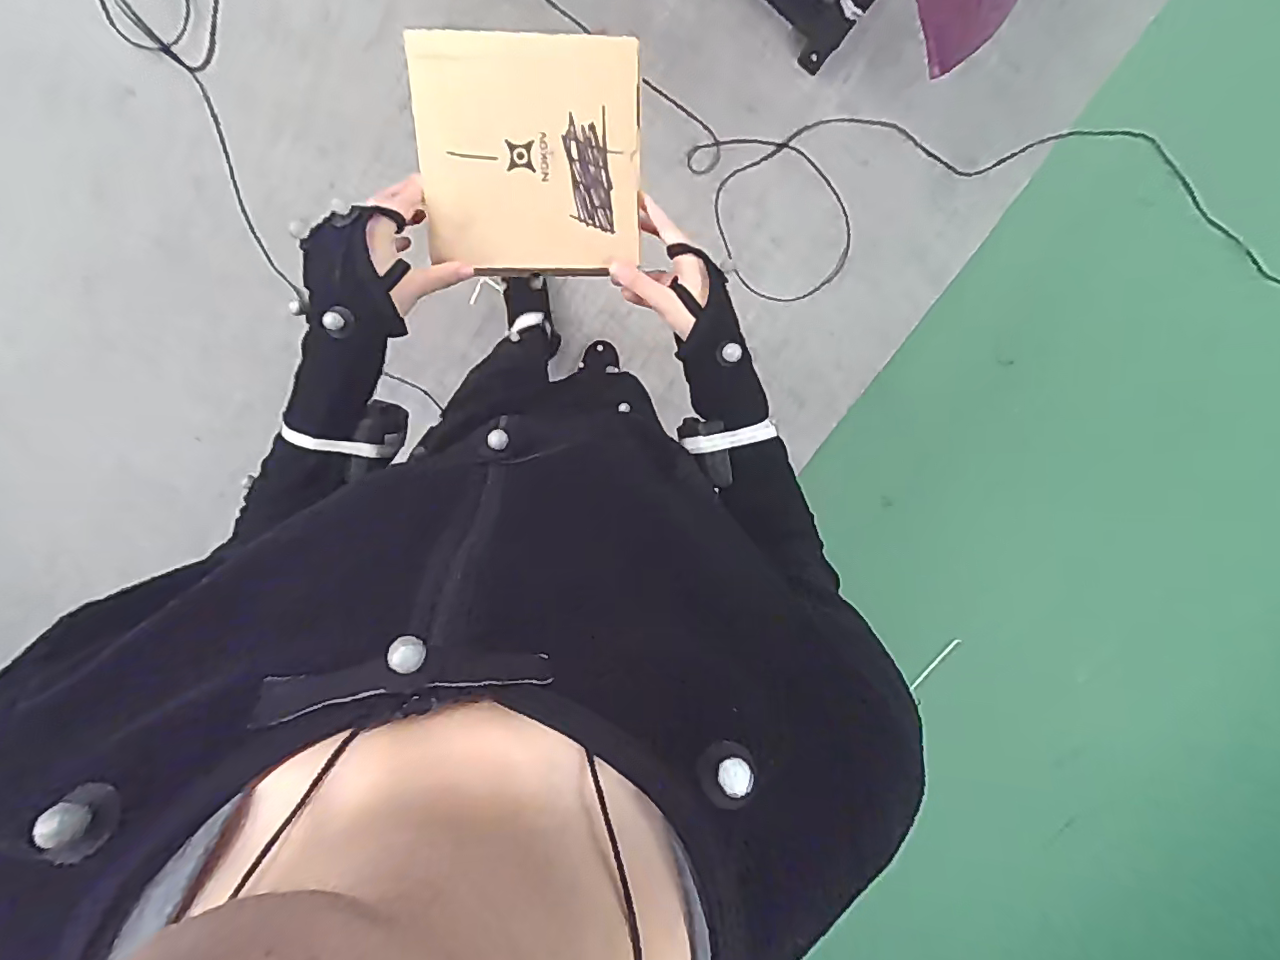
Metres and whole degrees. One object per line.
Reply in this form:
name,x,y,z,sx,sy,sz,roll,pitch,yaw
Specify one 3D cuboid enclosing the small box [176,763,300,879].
small box,-1.050,0.893,1.431,0.179,0.176,0.168,34,102,-10
